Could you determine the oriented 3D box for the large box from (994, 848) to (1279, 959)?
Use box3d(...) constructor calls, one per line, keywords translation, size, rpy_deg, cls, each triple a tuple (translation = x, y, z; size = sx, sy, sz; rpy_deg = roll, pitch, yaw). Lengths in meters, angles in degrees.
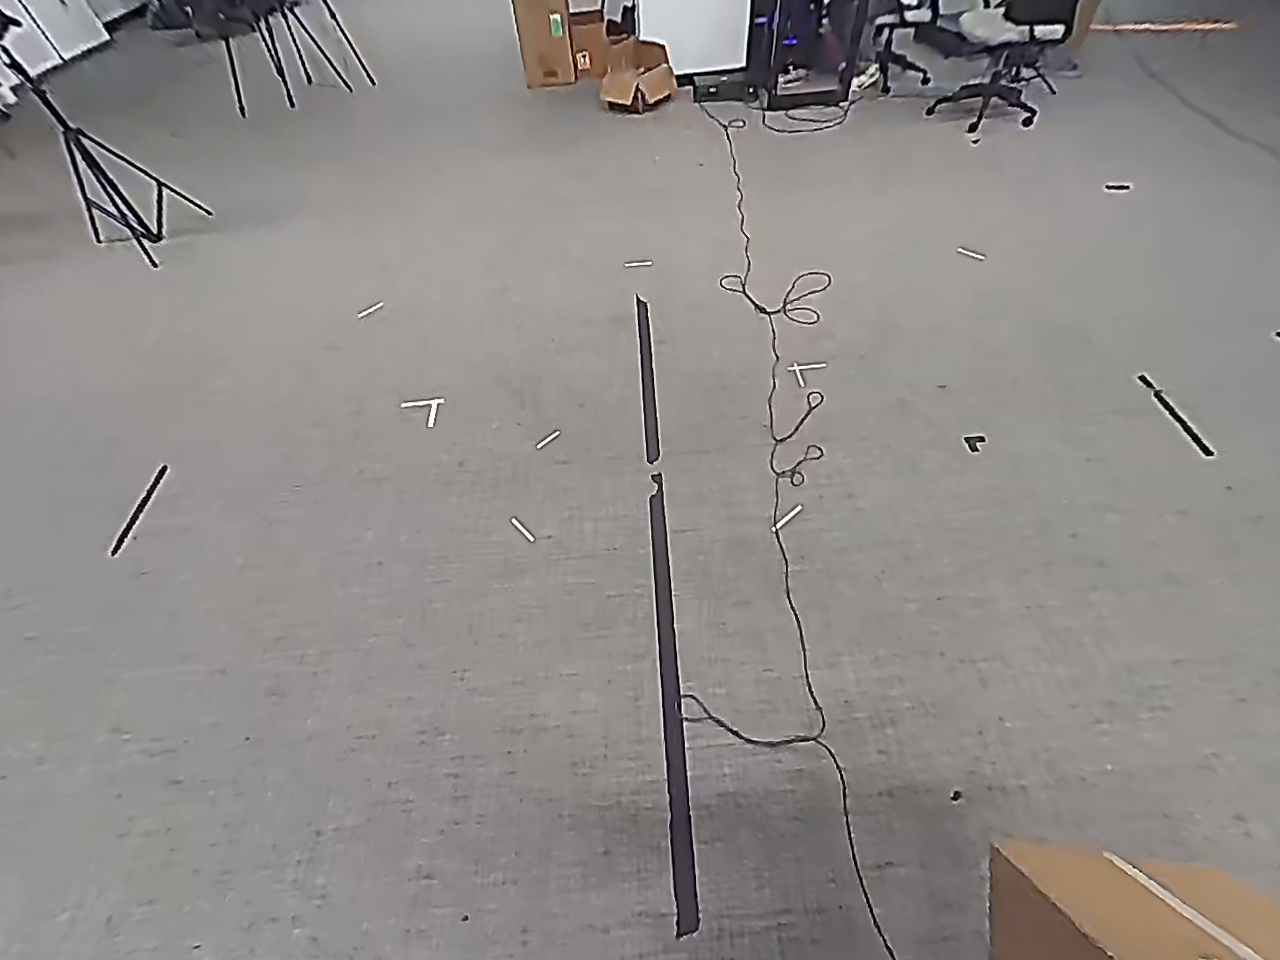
box3d(translation=(0.630, 0.672, 0.560), size=(0.320, 0.408, 0.320), rpy_deg=(4, 82, 8), cls="large box")
